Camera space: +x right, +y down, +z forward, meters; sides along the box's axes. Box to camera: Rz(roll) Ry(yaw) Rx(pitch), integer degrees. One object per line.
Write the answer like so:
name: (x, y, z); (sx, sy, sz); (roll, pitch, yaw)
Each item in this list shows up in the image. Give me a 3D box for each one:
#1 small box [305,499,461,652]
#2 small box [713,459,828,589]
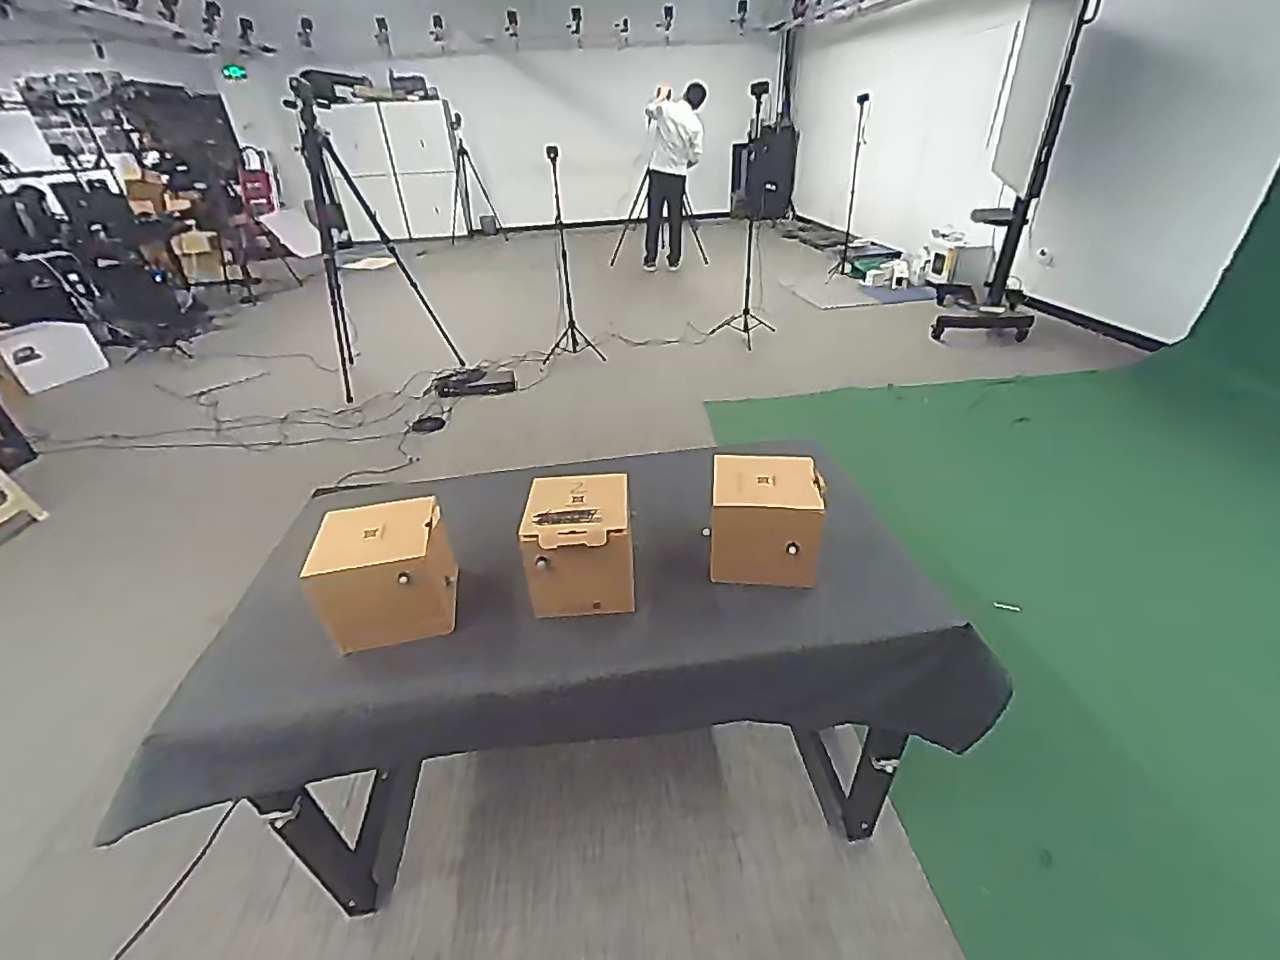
small box: (-0.404, 0.156, 0.884); (0.179, 0.176, 0.168); (-9, 33, -10)
small box: (0.221, 0.077, 0.956); (0.179, 0.176, 0.168); (1, 32, 8)
